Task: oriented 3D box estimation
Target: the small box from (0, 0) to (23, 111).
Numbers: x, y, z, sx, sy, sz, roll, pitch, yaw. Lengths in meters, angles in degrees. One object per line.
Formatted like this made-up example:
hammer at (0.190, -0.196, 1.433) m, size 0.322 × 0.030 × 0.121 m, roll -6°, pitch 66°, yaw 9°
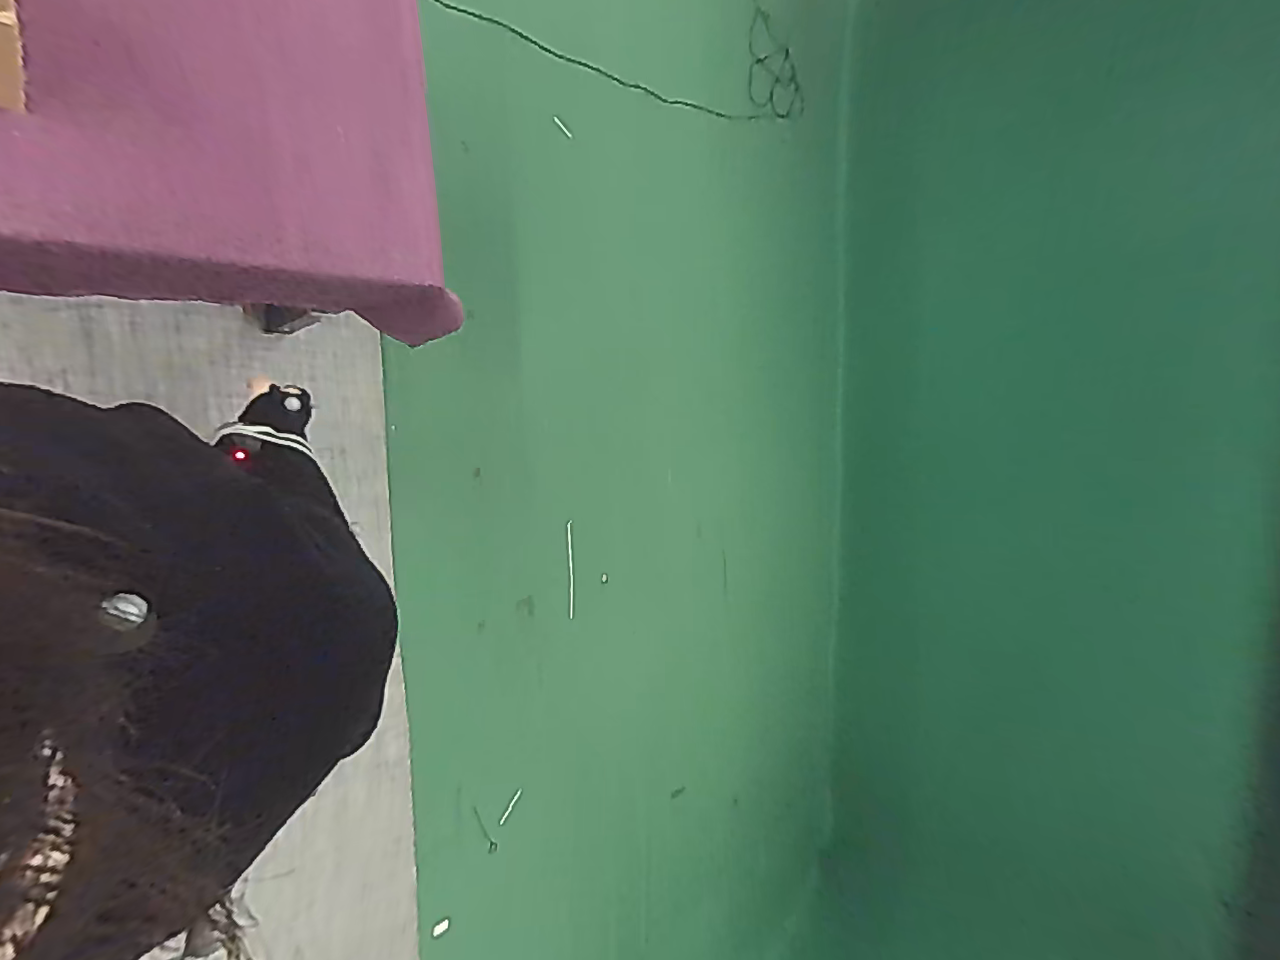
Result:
small box at (-0.599, -0.427, 0.404) m, size 0.168 × 0.176 × 0.179 m, roll -10°, pitch 100°, yaw -46°
